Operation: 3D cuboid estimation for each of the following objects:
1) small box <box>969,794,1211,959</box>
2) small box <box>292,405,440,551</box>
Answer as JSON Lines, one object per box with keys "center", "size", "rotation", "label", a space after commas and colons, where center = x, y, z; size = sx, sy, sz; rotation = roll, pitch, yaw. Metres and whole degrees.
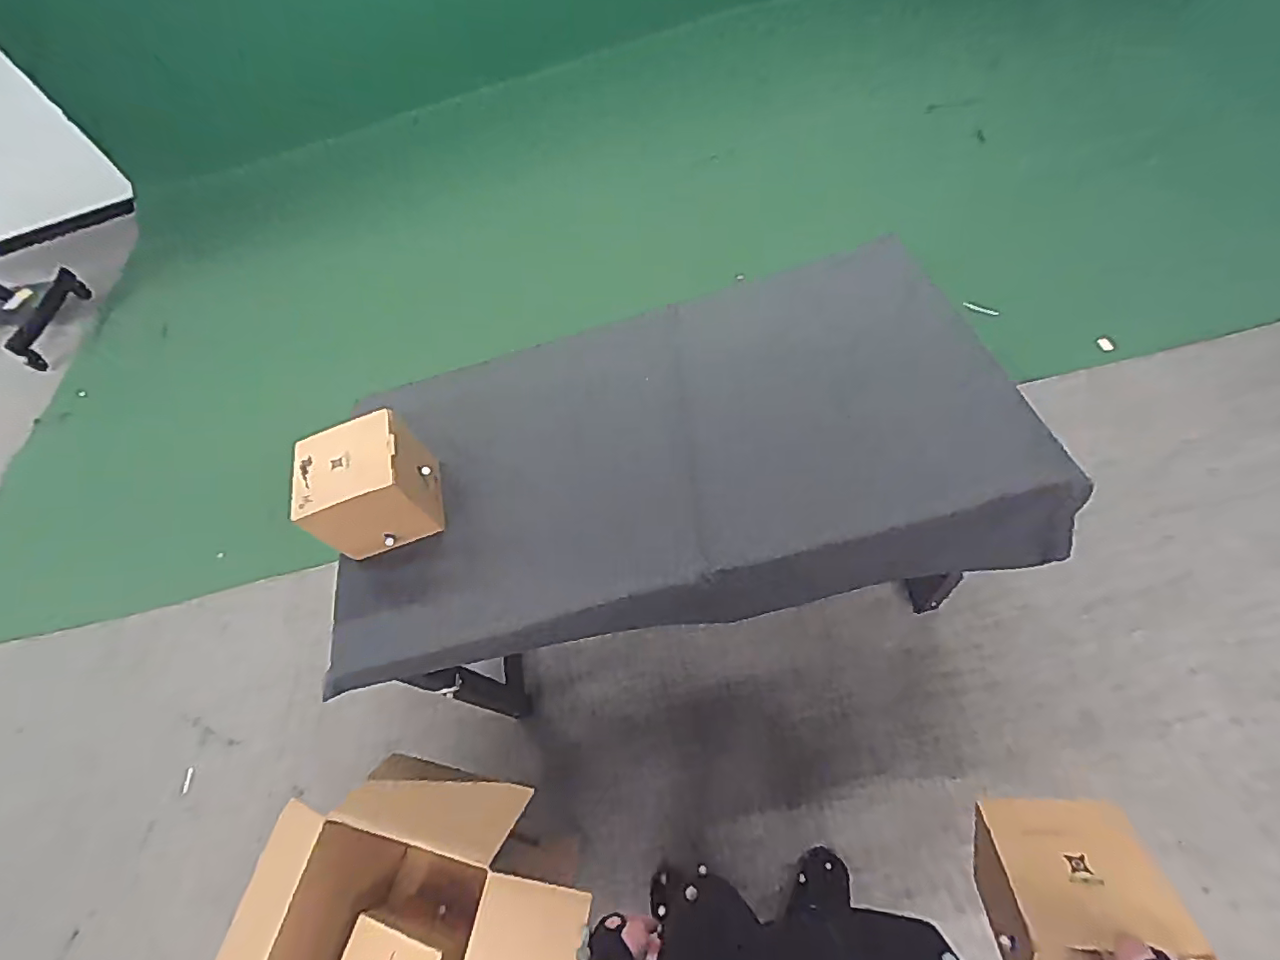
{"center": [0.523, 0.522, 0.659], "size": [0.168, 0.176, 0.179], "rotation": [-6, 21, 13], "label": "small box"}
{"center": [-0.468, 0.002, 0.950], "size": [0.179, 0.176, 0.168], "rotation": [-19, 57, 0], "label": "small box"}
